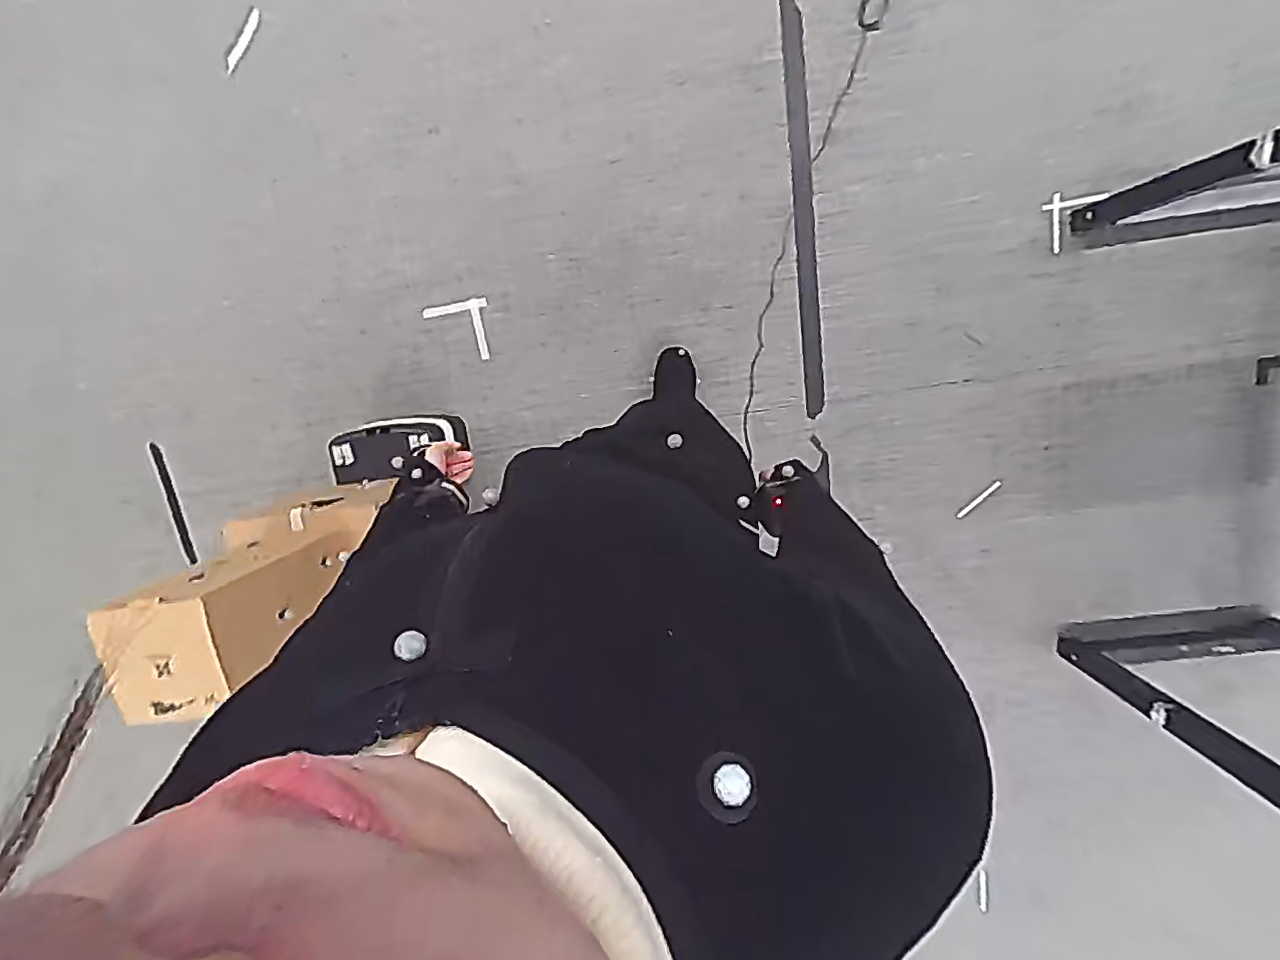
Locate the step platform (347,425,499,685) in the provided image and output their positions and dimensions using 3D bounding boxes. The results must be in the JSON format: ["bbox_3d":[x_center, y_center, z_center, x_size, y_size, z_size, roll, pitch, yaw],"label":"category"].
[{"bbox_3d":[-0.566,0.204,1.447,0.286,0.204,0.684,-1,102,3],"label":"step platform"}]

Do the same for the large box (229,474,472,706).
[{"bbox_3d":[-0.606,0.225,1.210,0.320,0.320,0.408,-6,102,5],"label":"large box"}]

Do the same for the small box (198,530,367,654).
[{"bbox_3d":[-0.616,0.194,0.955,0.168,0.176,0.179,-6,102,4],"label":"small box"}]

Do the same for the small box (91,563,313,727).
[{"bbox_3d":[-0.624,0.229,0.795,0.168,0.176,0.179,-7,100,4],"label":"small box"}]
